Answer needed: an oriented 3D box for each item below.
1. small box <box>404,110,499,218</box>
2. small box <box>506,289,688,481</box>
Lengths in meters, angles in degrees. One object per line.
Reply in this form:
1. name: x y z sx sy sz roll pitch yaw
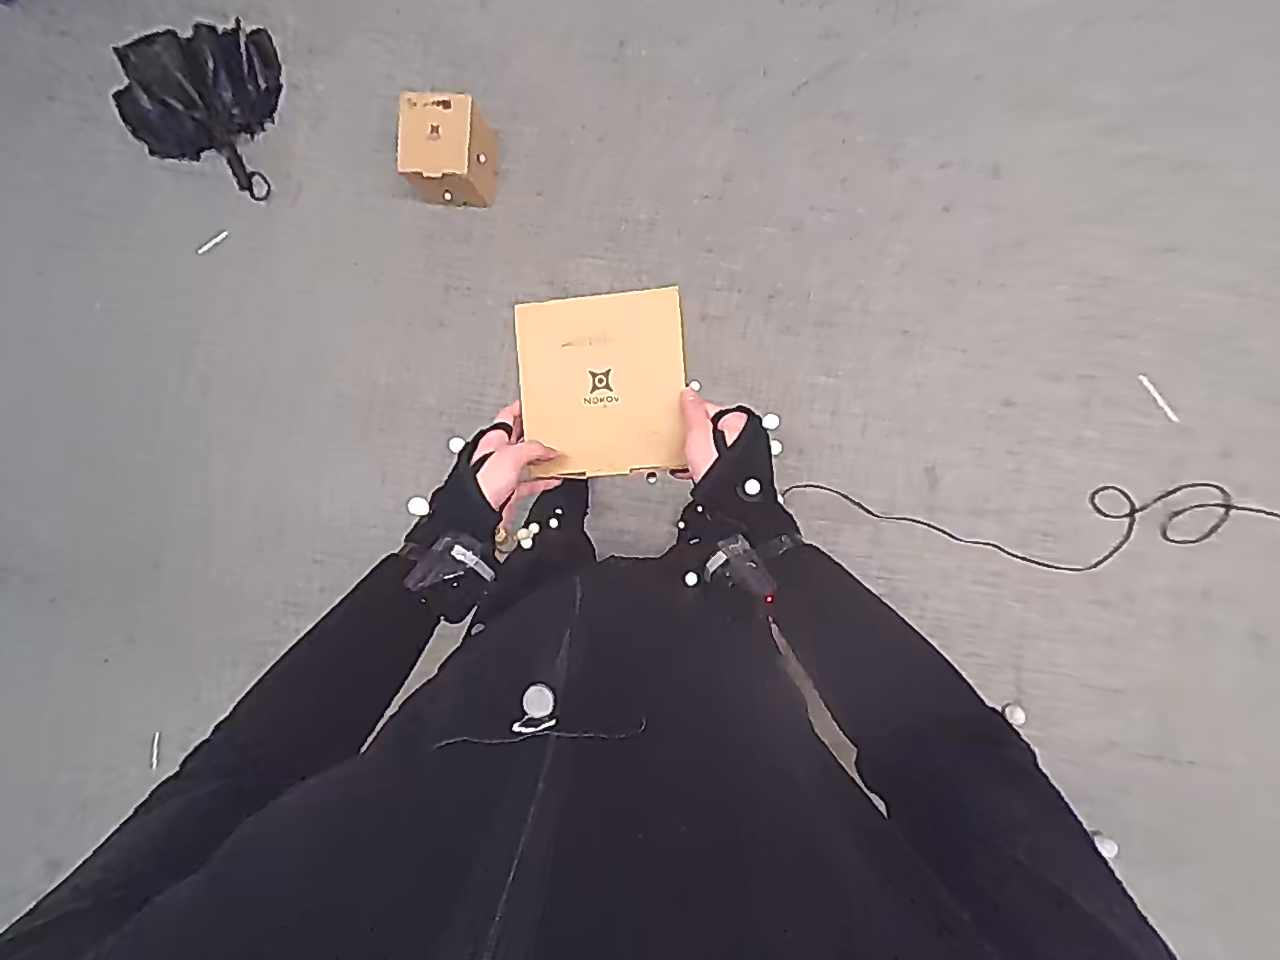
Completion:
1. small box: -0.452 -0.759 1.315 0.168 0.176 0.179 4 94 4
2. small box: -0.037 -0.094 0.611 0.168 0.176 0.179 -5 90 8
